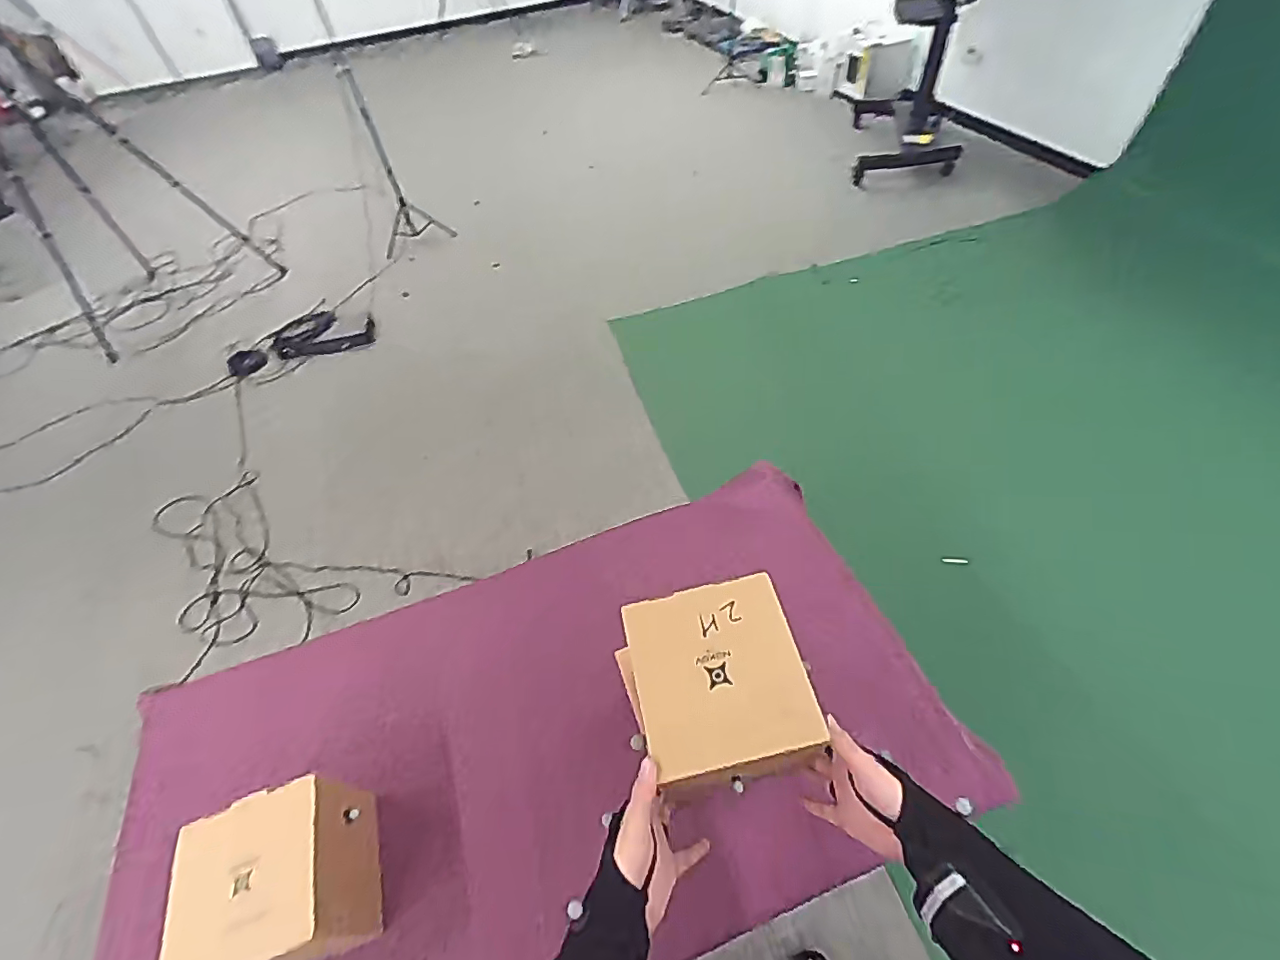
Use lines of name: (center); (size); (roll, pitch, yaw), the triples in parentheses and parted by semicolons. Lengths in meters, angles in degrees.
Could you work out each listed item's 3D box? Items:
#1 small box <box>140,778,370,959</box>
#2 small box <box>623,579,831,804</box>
small box: (-0.452, 0.504, 0.664); (0.168, 0.176, 0.179); (-19, 52, -9)
small box: (0.085, 0.234, 0.582); (0.168, 0.176, 0.179); (-12, 53, -1)
